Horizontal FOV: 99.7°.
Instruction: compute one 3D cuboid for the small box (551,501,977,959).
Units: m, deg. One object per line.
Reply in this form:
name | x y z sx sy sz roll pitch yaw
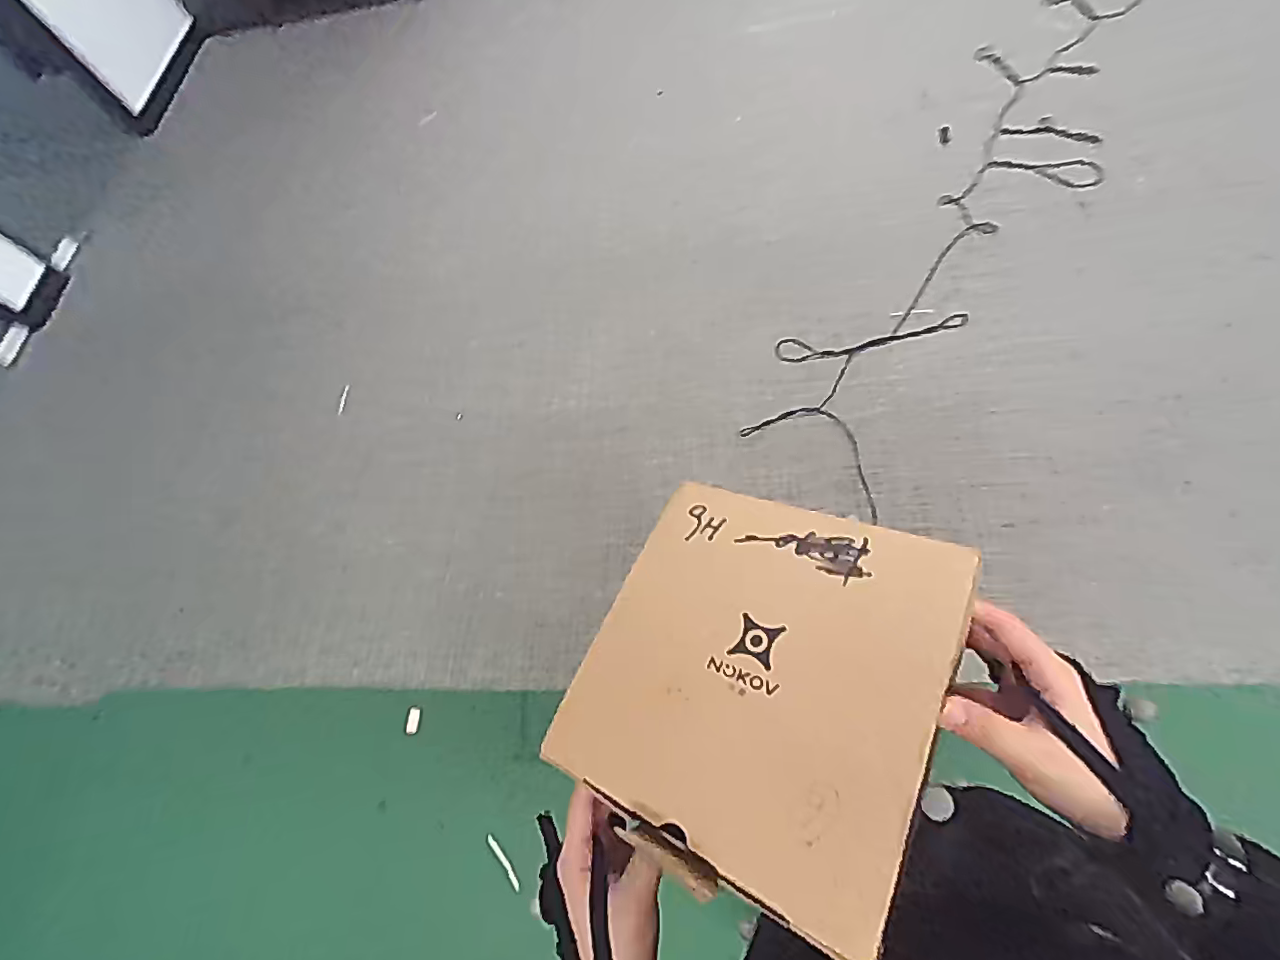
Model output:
small box | 0.086 0.143 0.327 0.168 0.176 0.179 15 64 34
